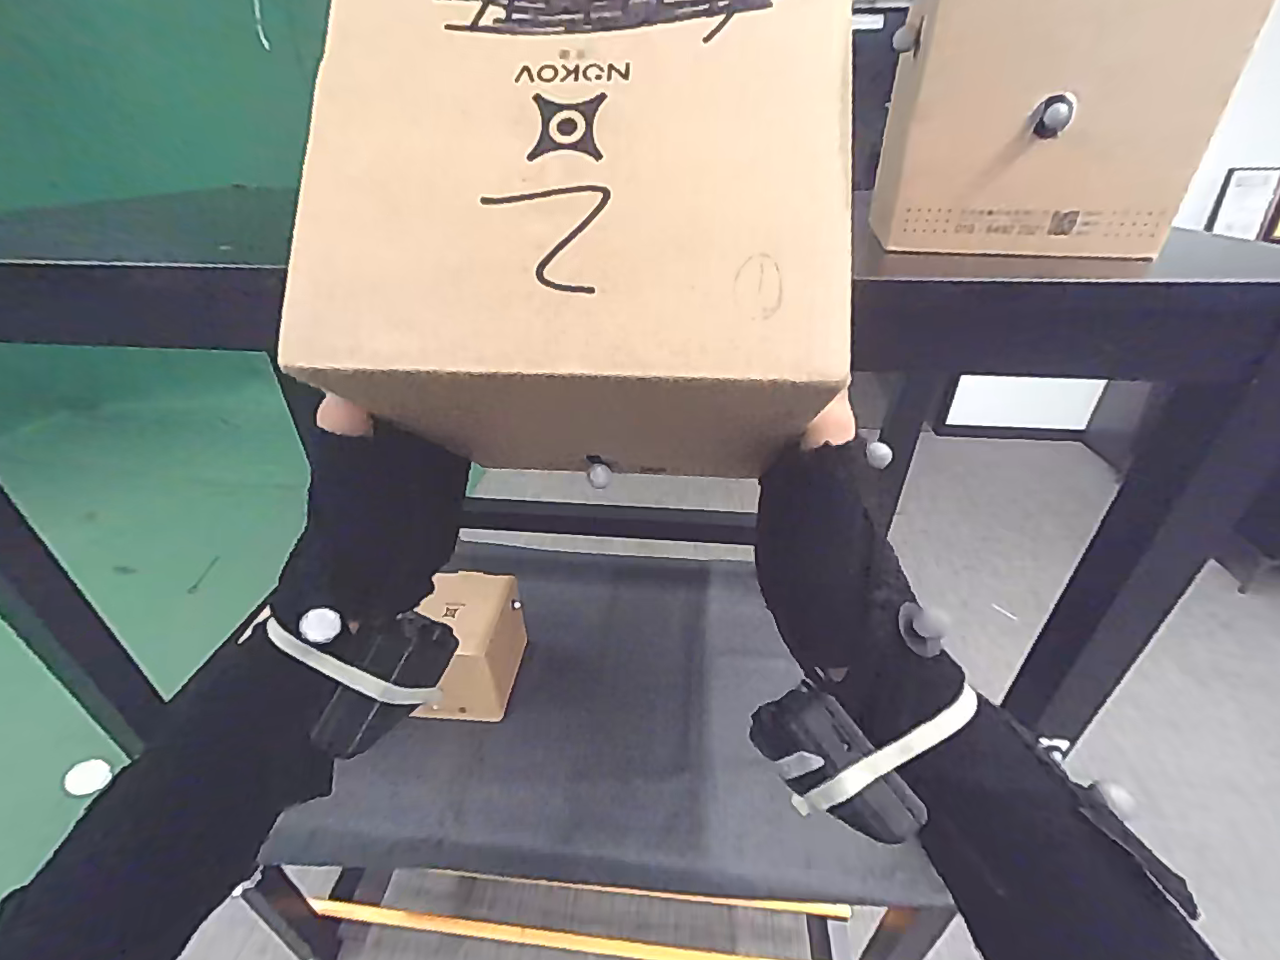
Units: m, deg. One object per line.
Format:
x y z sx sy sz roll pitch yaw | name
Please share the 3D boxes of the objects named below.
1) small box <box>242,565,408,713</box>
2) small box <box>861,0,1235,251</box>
-0.520 0.269 0.928 0.168 0.176 0.179 1 33 3 | small box
0.265 -0.269 0.392 0.168 0.176 0.179 8 33 14 | small box
